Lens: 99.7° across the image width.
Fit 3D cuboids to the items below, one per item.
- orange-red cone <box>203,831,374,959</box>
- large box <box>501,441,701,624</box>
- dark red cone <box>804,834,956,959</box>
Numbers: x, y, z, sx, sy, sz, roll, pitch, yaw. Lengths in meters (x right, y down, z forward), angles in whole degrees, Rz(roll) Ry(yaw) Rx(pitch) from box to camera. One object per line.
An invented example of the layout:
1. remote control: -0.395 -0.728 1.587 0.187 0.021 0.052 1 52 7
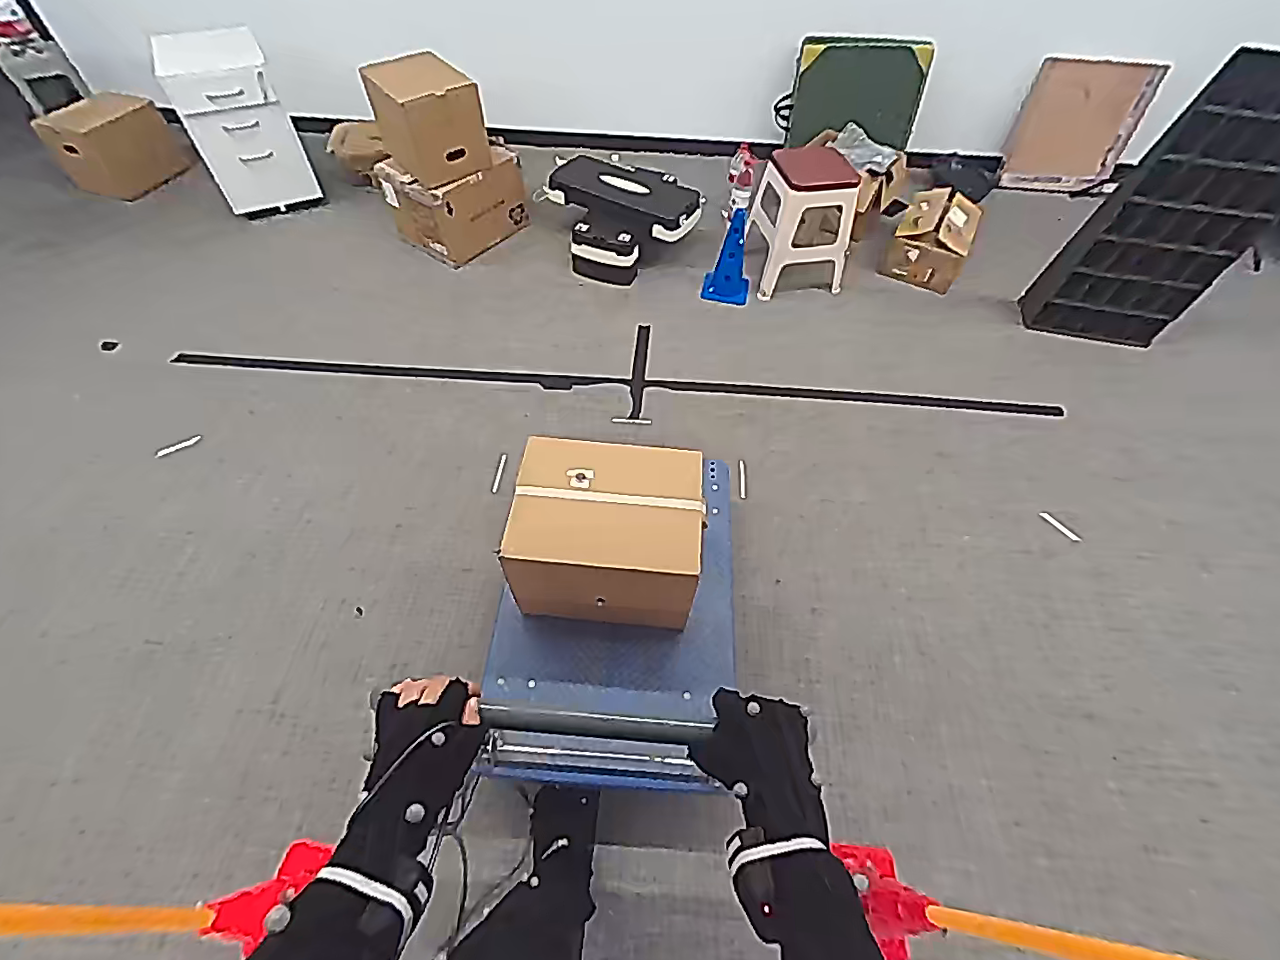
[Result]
1. orange-red cone: -0.674 0.761 0.986 0.198 0.360 0.199 12 53 5
2. large box: -0.071 0.134 1.281 0.408 0.320 0.320 5 55 2
3. dark red cone: 0.460 0.774 1.000 0.201 0.394 0.202 6 55 -1
